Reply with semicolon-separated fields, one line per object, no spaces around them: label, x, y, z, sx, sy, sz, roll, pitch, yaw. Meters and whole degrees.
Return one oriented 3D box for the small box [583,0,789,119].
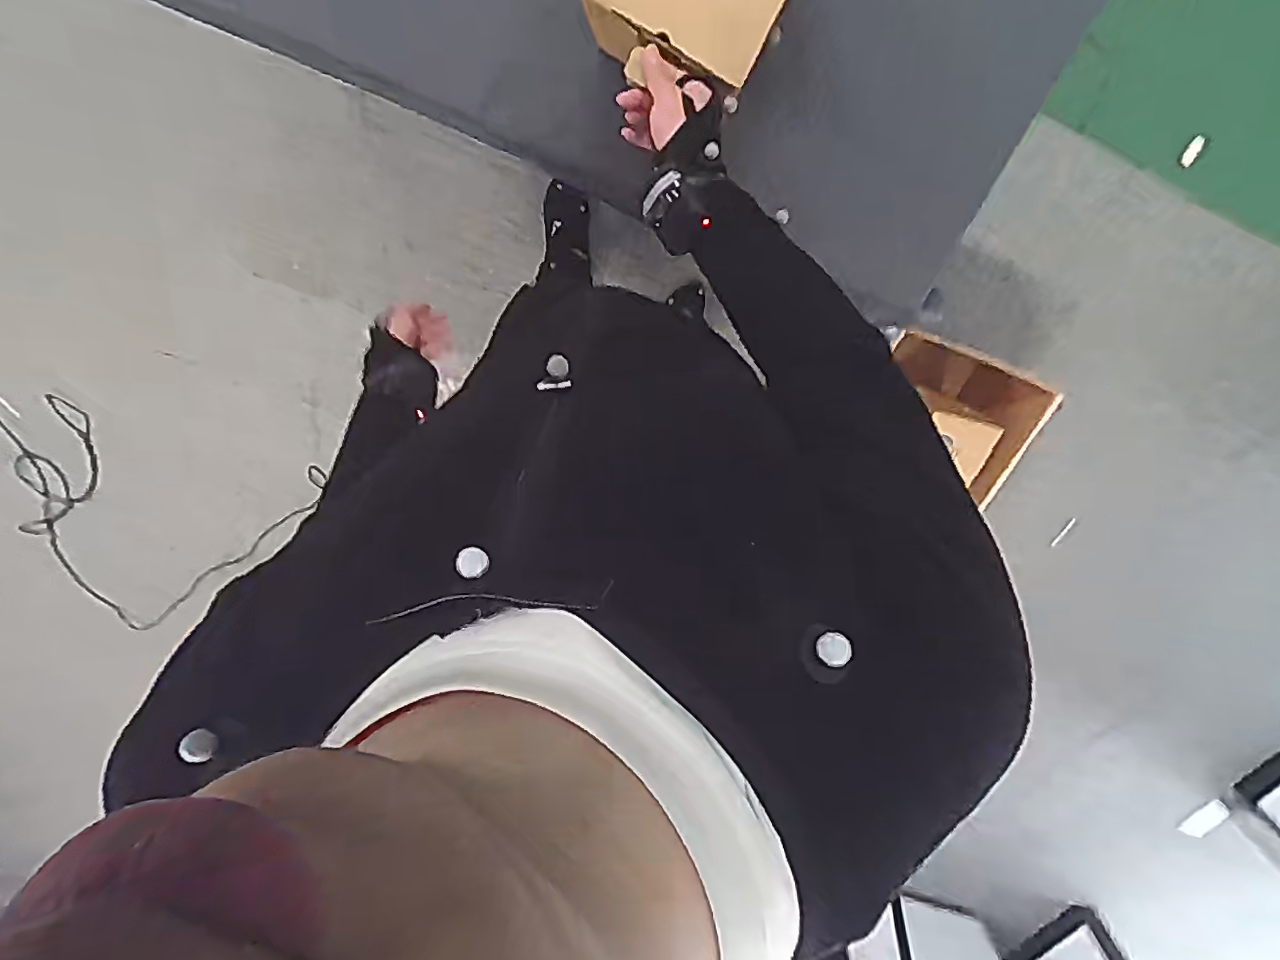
small box;0.063;-0.492;0.528;0.168;0.176;0.179;26;114;-9

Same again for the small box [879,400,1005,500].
small box;0.713;-0.078;1.298;0.179;0.176;0.168;15;117;-4
